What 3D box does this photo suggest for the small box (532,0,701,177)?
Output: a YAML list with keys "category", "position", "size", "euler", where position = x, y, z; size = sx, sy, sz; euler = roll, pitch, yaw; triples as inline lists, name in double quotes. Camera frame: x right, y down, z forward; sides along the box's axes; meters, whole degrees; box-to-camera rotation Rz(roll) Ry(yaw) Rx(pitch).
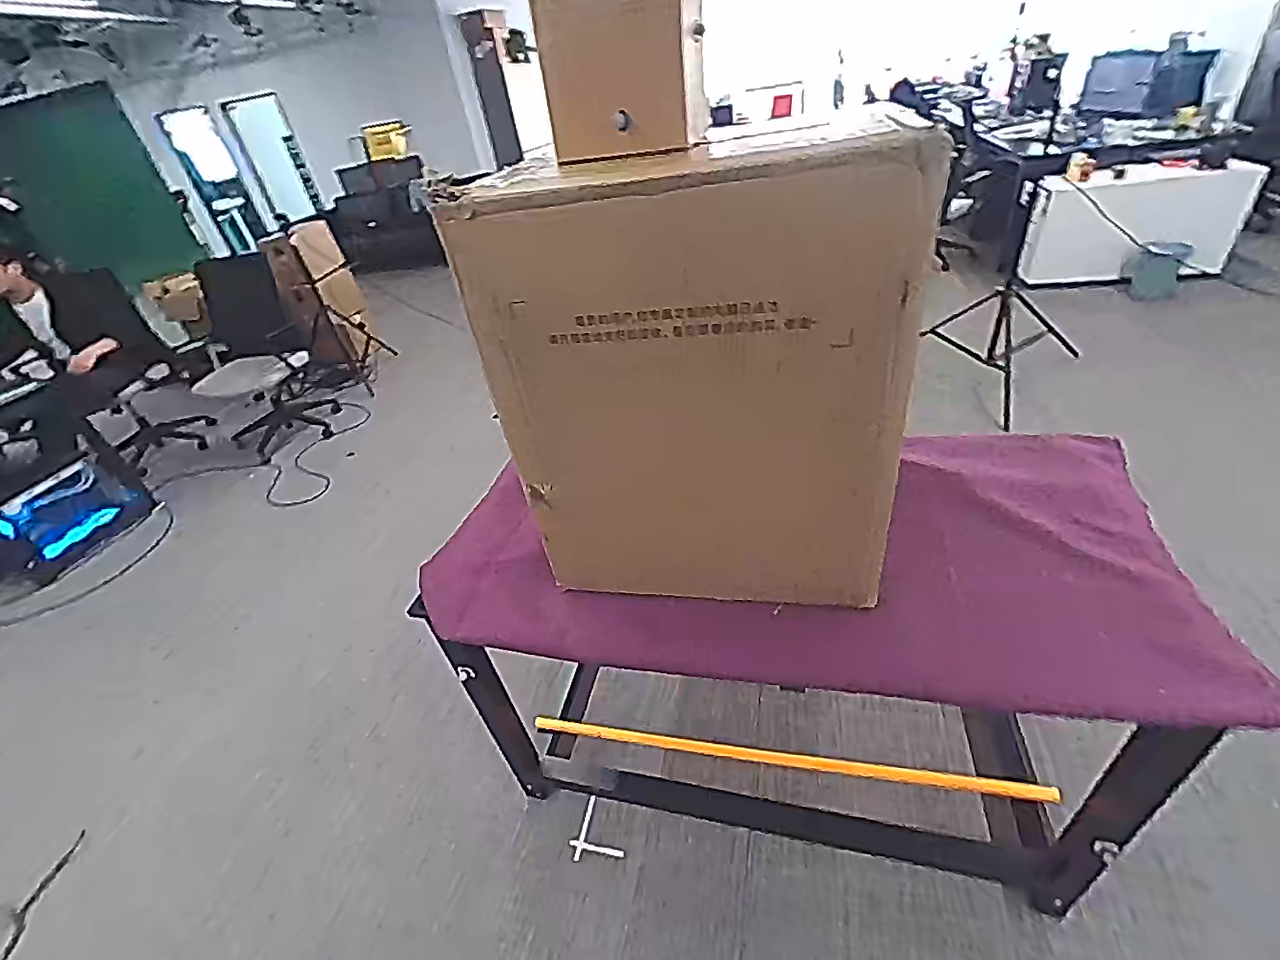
- category: "small box"
  position: [-0.023, -0.501, 0.688]
  size: [0.179, 0.176, 0.168]
  euler: [2, 38, 16]
